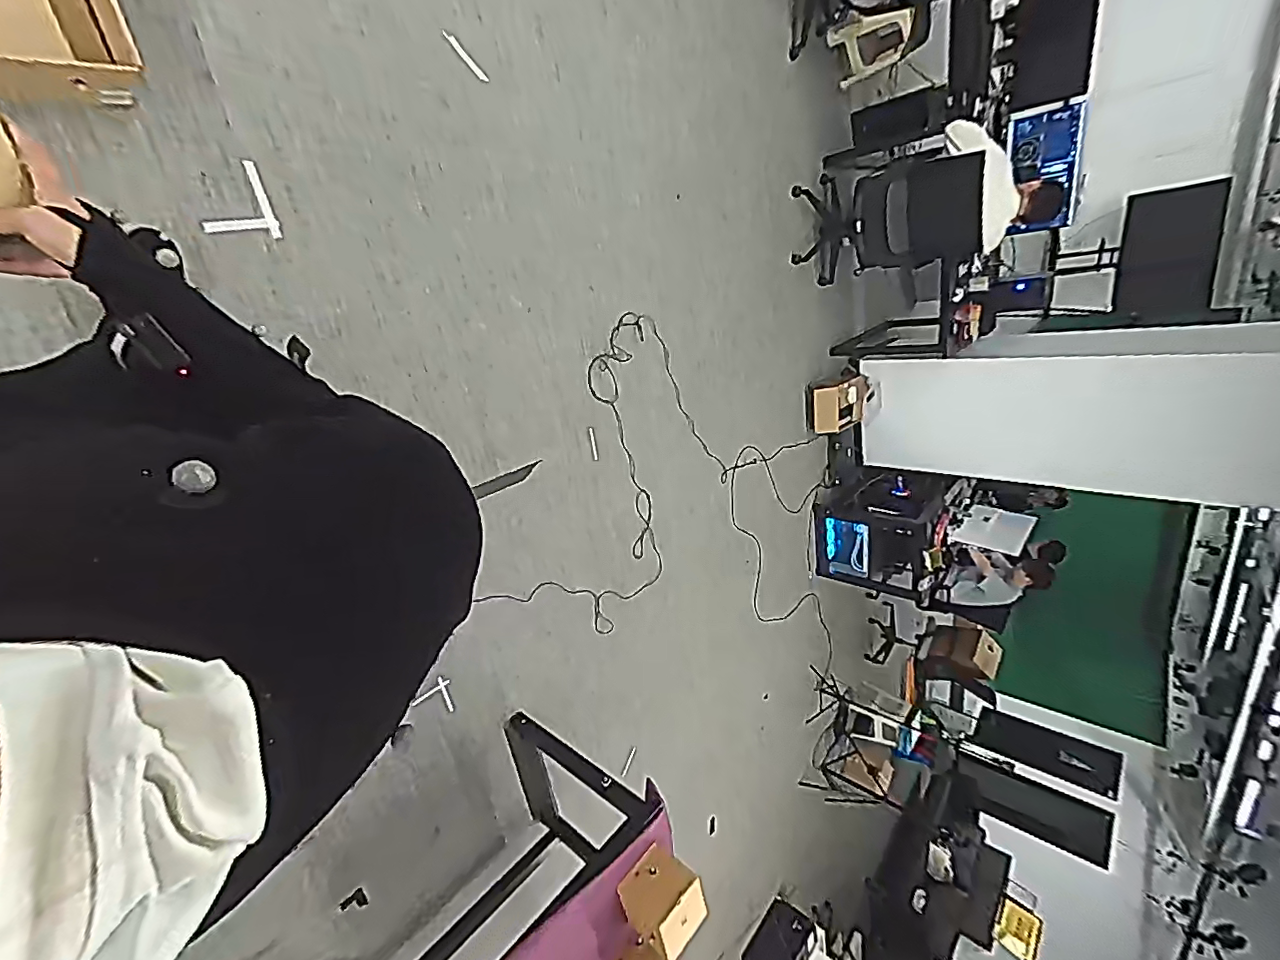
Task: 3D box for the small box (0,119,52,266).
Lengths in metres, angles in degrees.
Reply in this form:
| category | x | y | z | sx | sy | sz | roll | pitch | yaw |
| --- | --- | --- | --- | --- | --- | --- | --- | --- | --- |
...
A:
| category | x | y | z | sx | sy | sz | roll | pitch | yaw |
| --- | --- | --- | --- | --- | --- | --- | --- | --- | --- |
| small box | -0.643 | -0.271 | 0.442 | 0.179 | 0.176 | 0.168 | -29 | 115 | -42 |

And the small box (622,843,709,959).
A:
| category | x | y | z | sx | sy | sz | roll | pitch | yaw |
| --- | --- | --- | --- | --- | --- | --- | --- | --- | --- |
| small box | 0.072 | 1.198 | 1.549 | 0.168 | 0.176 | 0.179 | -31 | 119 | -37 |
